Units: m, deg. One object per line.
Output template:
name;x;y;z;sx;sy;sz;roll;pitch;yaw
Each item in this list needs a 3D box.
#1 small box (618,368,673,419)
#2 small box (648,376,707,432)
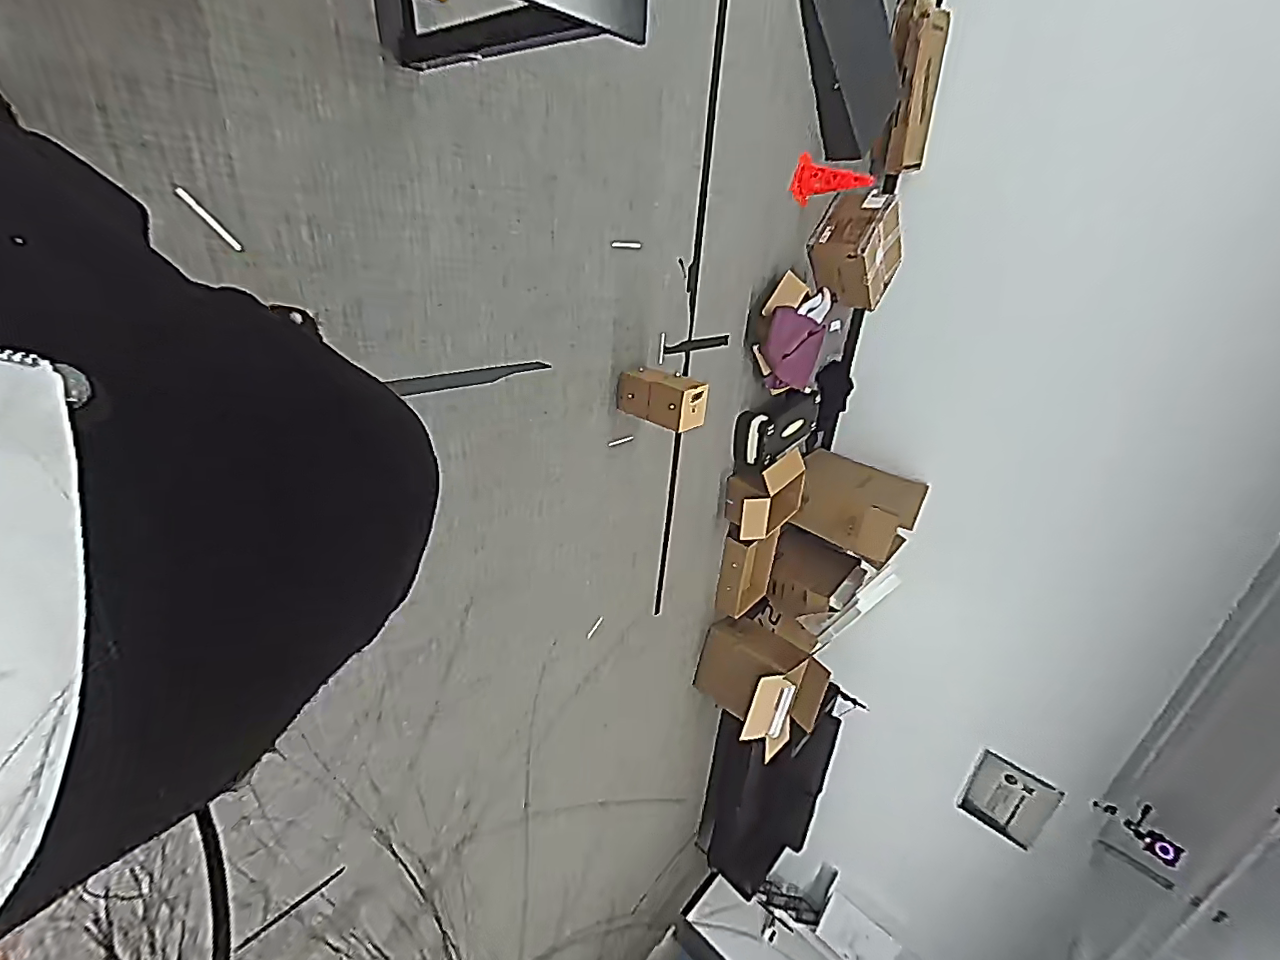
small box;0.025;-0.369;2.278;0.179;0.176;0.168;-20;126;-44
small box;0.148;-0.314;2.181;0.168;0.176;0.179;-23;128;-43
